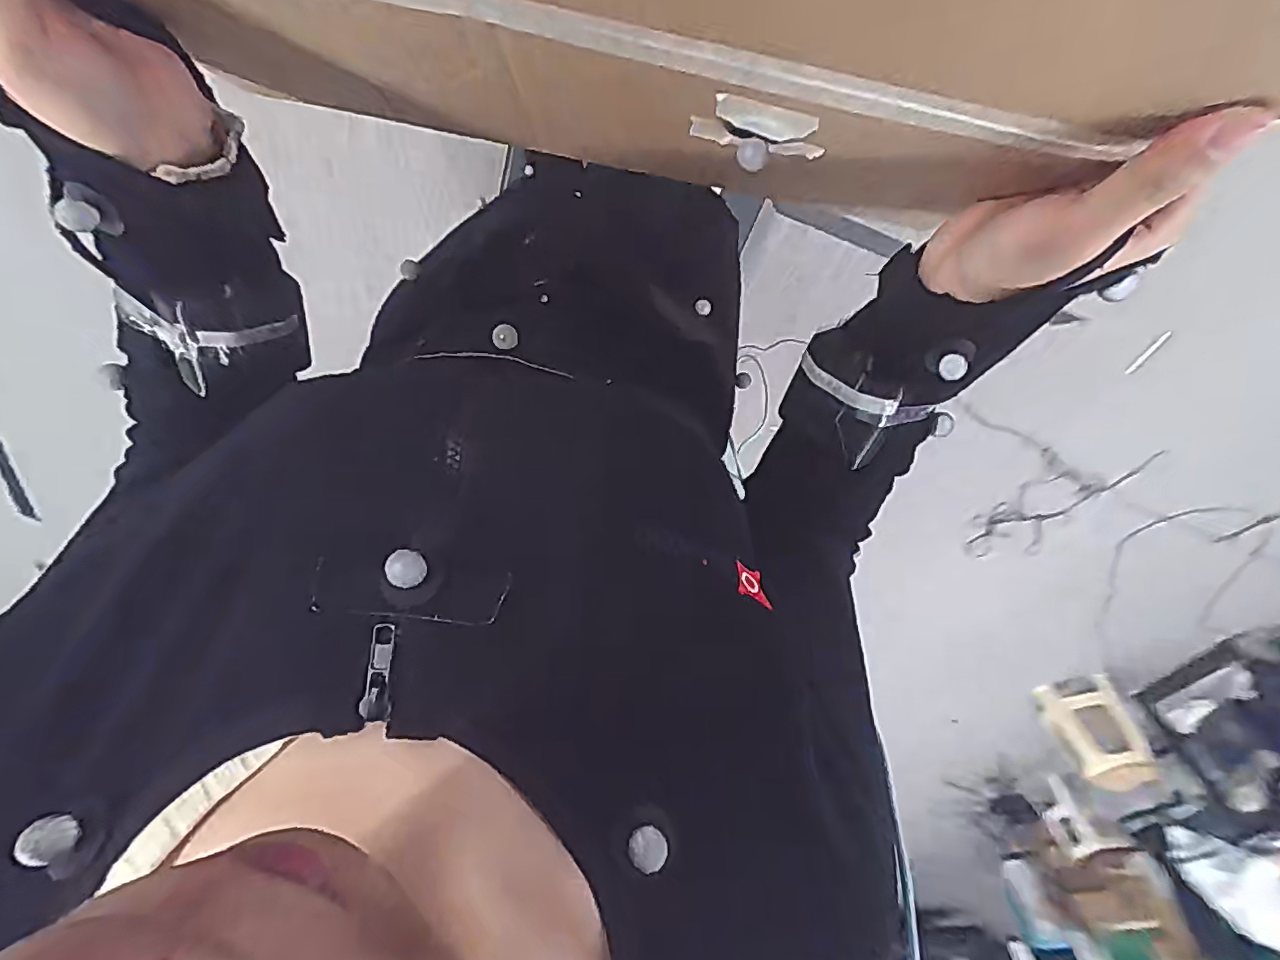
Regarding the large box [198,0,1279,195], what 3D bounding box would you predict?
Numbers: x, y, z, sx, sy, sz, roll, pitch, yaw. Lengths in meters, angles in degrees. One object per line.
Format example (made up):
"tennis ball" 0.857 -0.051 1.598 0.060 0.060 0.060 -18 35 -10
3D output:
"large box" 0.032 -0.299 0.110 0.408 0.320 0.320 9 105 -6
